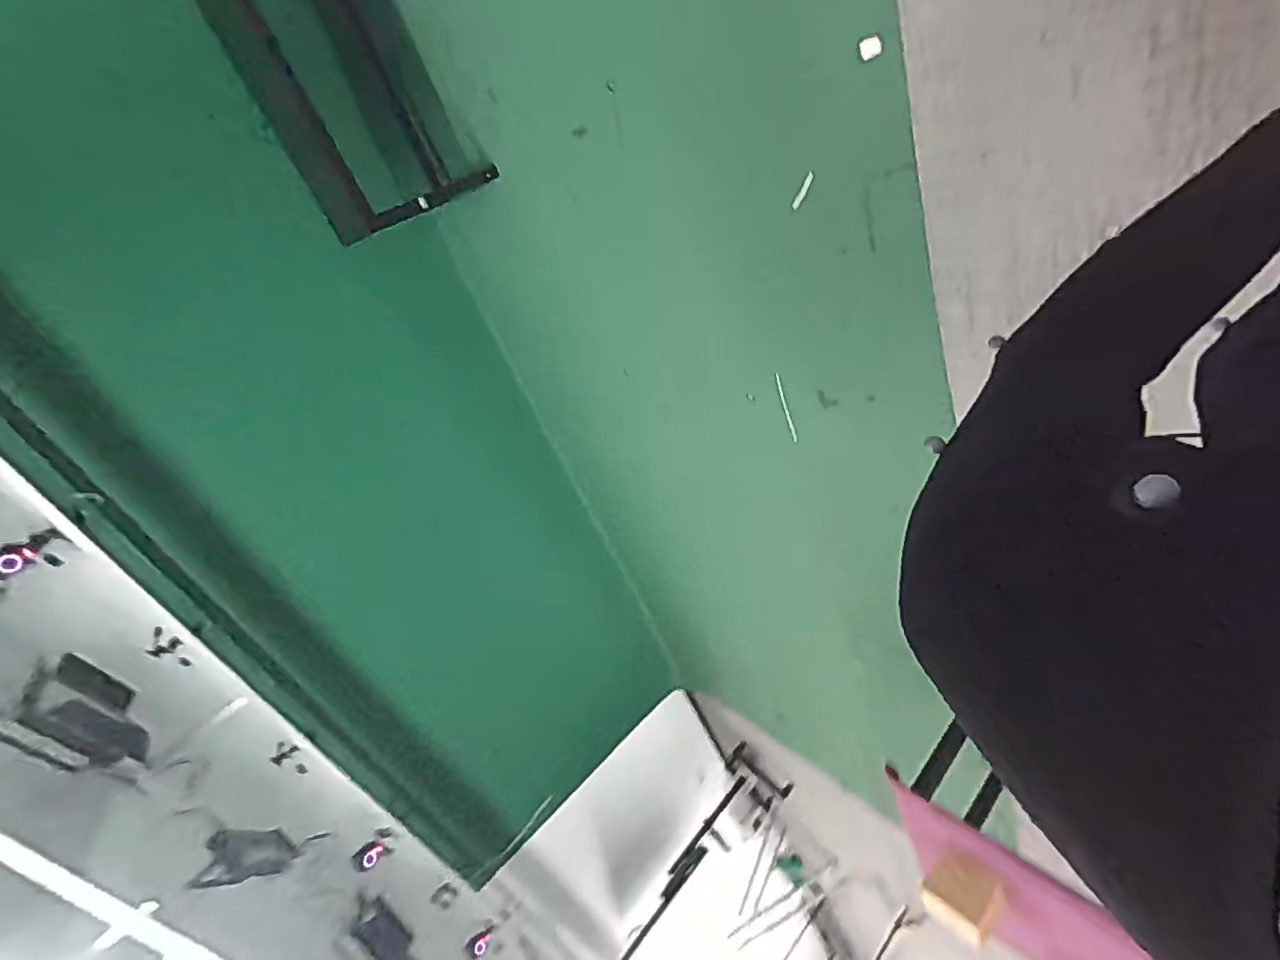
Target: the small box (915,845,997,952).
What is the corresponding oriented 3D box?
[{"bbox_3d":[0.989,1.299,1.687,0.168,0.176,0.179,15,138,51],"label":"small box"}]
